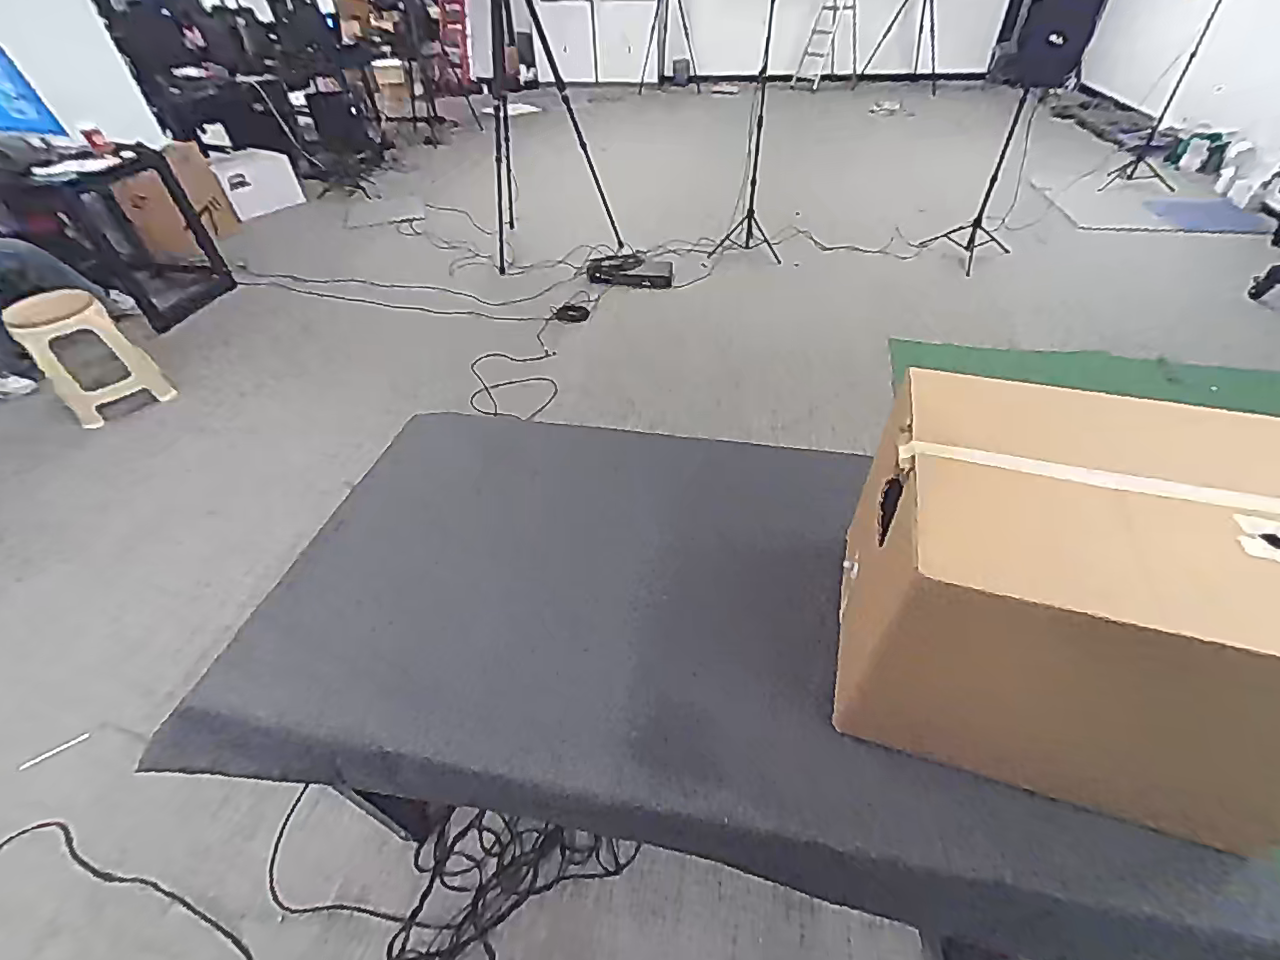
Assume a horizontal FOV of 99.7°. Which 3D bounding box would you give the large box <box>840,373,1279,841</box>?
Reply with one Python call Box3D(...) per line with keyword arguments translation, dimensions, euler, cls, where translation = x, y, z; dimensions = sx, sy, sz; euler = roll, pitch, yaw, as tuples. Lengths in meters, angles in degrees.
Box3D(translation=(0.459, 0.119, 0.586), dimensions=(0.408, 0.320, 0.320), euler=(12, 46, 14), cls="large box")
